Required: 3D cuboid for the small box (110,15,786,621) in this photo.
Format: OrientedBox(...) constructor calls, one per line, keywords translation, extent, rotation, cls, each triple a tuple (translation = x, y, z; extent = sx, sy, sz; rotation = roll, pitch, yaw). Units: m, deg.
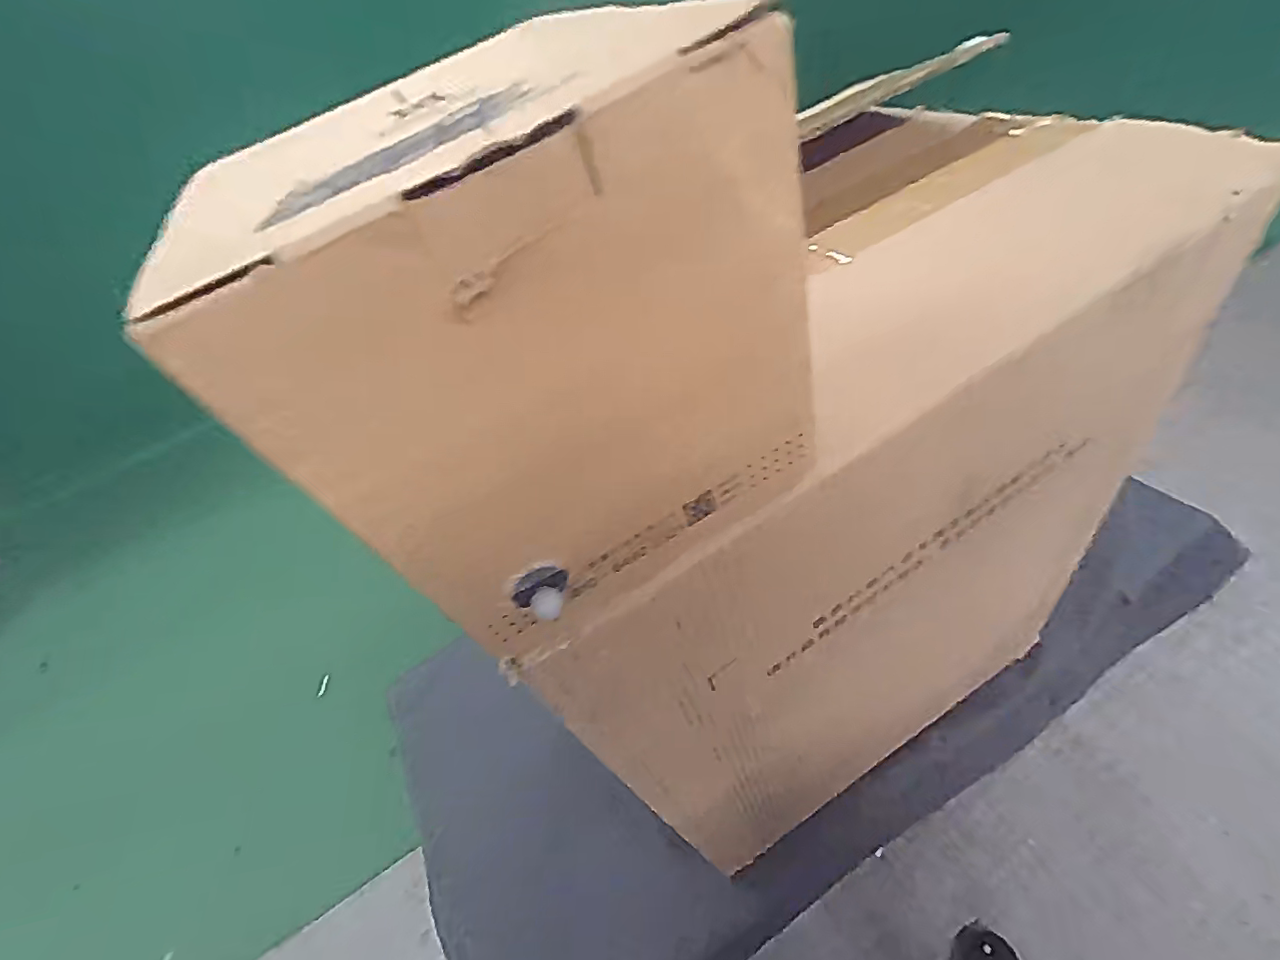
OrientedBox(translation=(-0.055, -0.064, 0.236), extent=(0.168, 0.176, 0.179), rotation=(-31, 46, -7), cls="small box")
